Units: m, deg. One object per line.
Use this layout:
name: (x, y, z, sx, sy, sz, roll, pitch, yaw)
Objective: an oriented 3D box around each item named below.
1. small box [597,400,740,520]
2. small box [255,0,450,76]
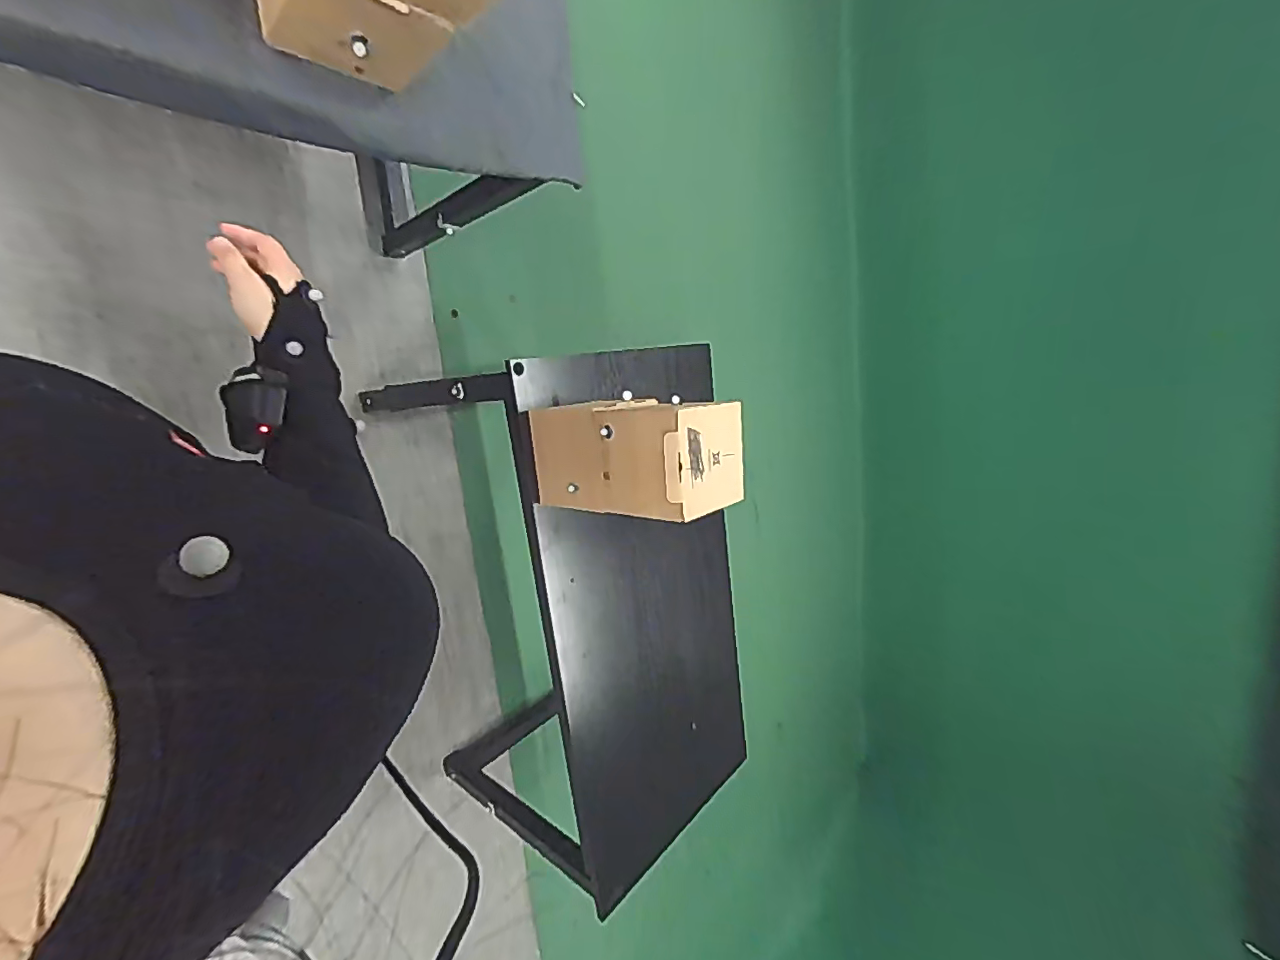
small box: (0.043, -0.040, 0.871, 0.179, 0.176, 0.168, -14, 105, -47)
small box: (-0.346, -0.623, 0.632, 0.168, 0.176, 0.179, -13, 102, -46)
